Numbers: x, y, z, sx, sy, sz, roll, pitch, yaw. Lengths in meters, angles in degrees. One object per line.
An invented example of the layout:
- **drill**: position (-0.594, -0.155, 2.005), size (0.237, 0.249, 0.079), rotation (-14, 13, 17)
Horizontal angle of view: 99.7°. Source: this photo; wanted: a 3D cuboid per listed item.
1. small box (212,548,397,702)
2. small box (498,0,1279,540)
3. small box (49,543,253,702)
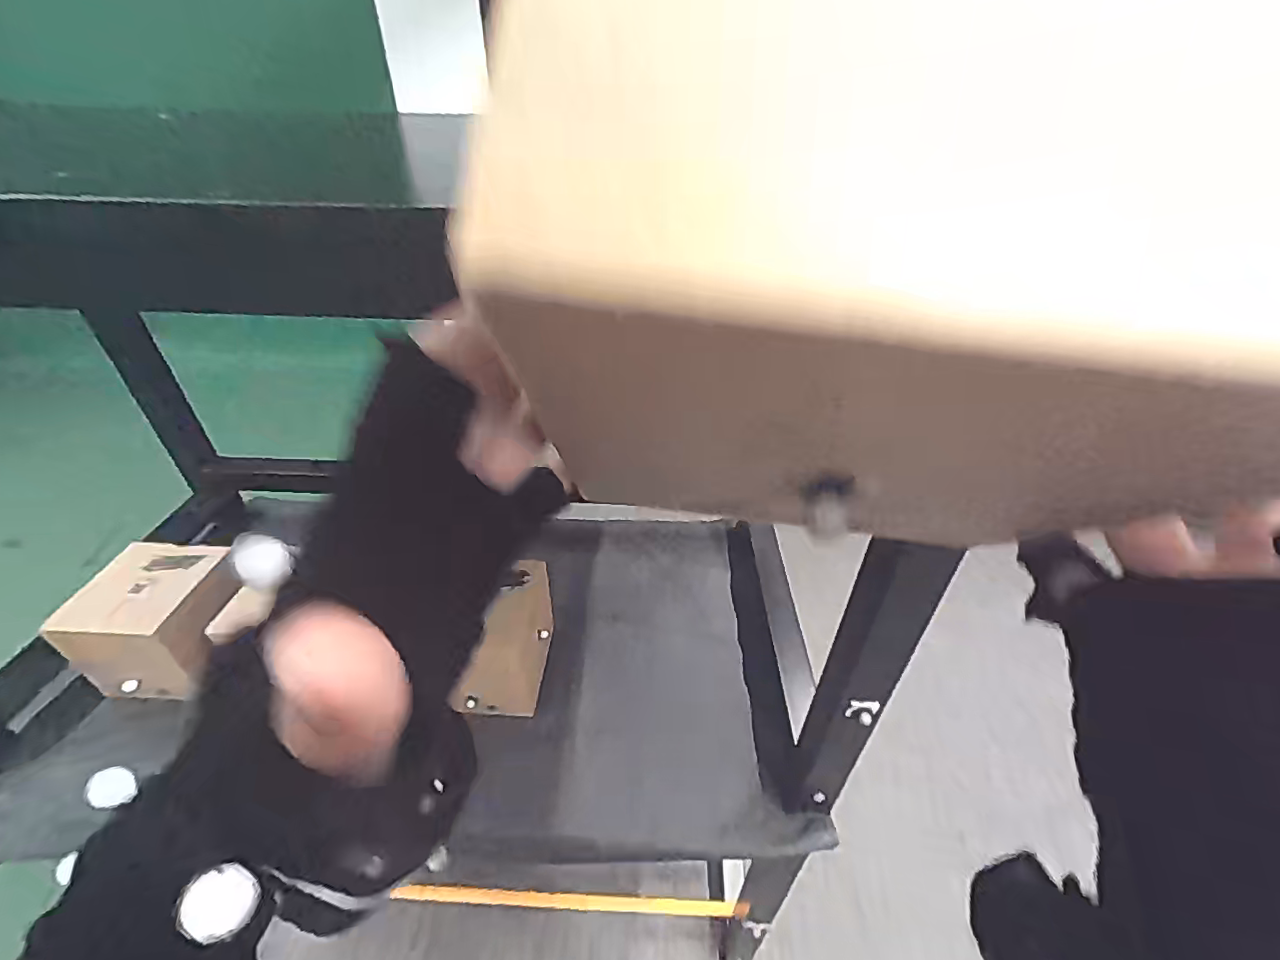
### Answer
- **small box**: position (-0.515, 0.231, 0.866), size (0.168, 0.176, 0.179), rotation (3, 36, 2)
- **small box**: position (0.069, -0.079, 0.176), size (0.168, 0.176, 0.179), rotation (8, 78, 1)
- **small box**: position (-0.742, 0.224, 0.864), size (0.168, 0.176, 0.179), rotation (2, 37, 1)
